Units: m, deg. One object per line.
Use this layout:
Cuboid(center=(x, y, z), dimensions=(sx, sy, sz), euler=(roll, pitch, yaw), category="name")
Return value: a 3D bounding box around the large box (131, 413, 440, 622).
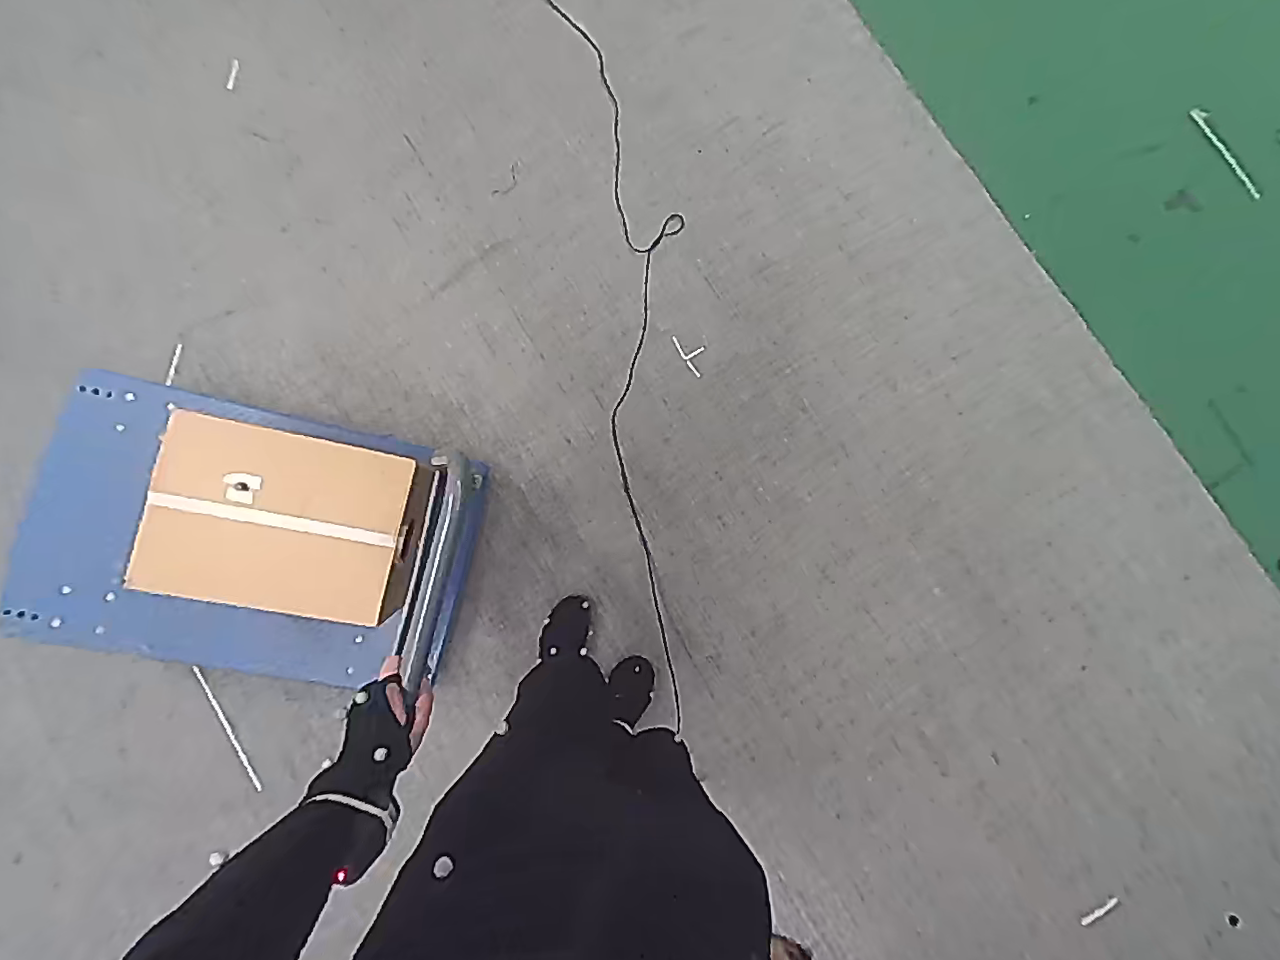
Cuboid(center=(-0.660, 0.076, 1.094), dimensions=(0.408, 0.320, 0.320), euler=(12, 84, -11), category="large box")
